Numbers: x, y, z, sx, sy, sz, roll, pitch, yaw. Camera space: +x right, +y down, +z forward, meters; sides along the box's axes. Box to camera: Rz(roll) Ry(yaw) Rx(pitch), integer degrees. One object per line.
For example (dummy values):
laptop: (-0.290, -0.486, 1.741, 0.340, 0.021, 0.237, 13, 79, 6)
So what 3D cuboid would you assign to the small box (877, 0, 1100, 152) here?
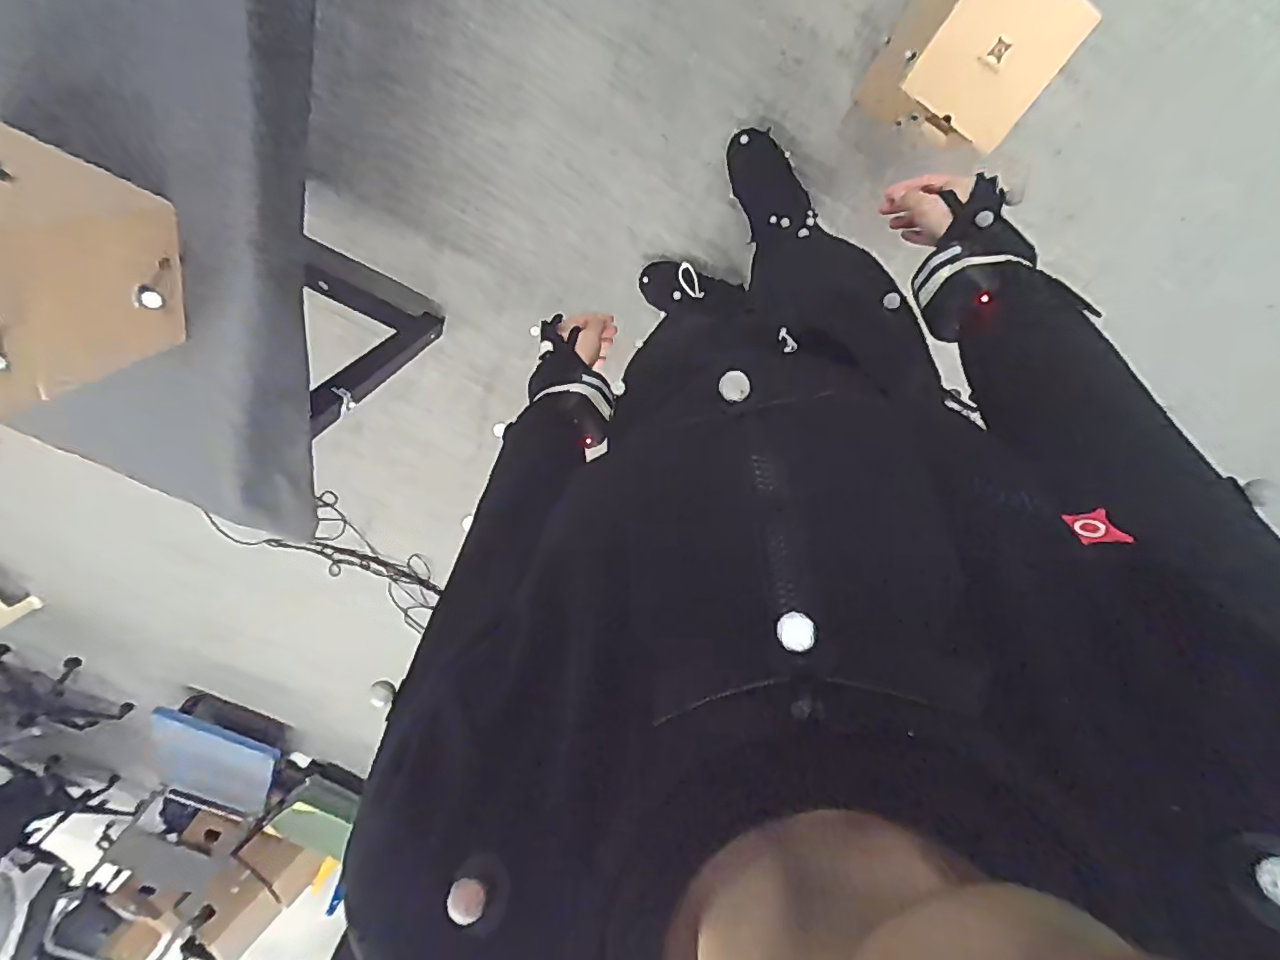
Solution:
small box: (0.468, -0.600, 0.762, 0.168, 0.176, 0.179, 27, 124, -10)

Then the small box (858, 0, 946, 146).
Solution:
small box: (0.486, -0.692, 0.896, 0.168, 0.176, 0.179, 26, 125, -9)

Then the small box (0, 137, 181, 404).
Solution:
small box: (-0.596, -0.207, 0.515, 0.179, 0.176, 0.168, 24, 125, -8)
